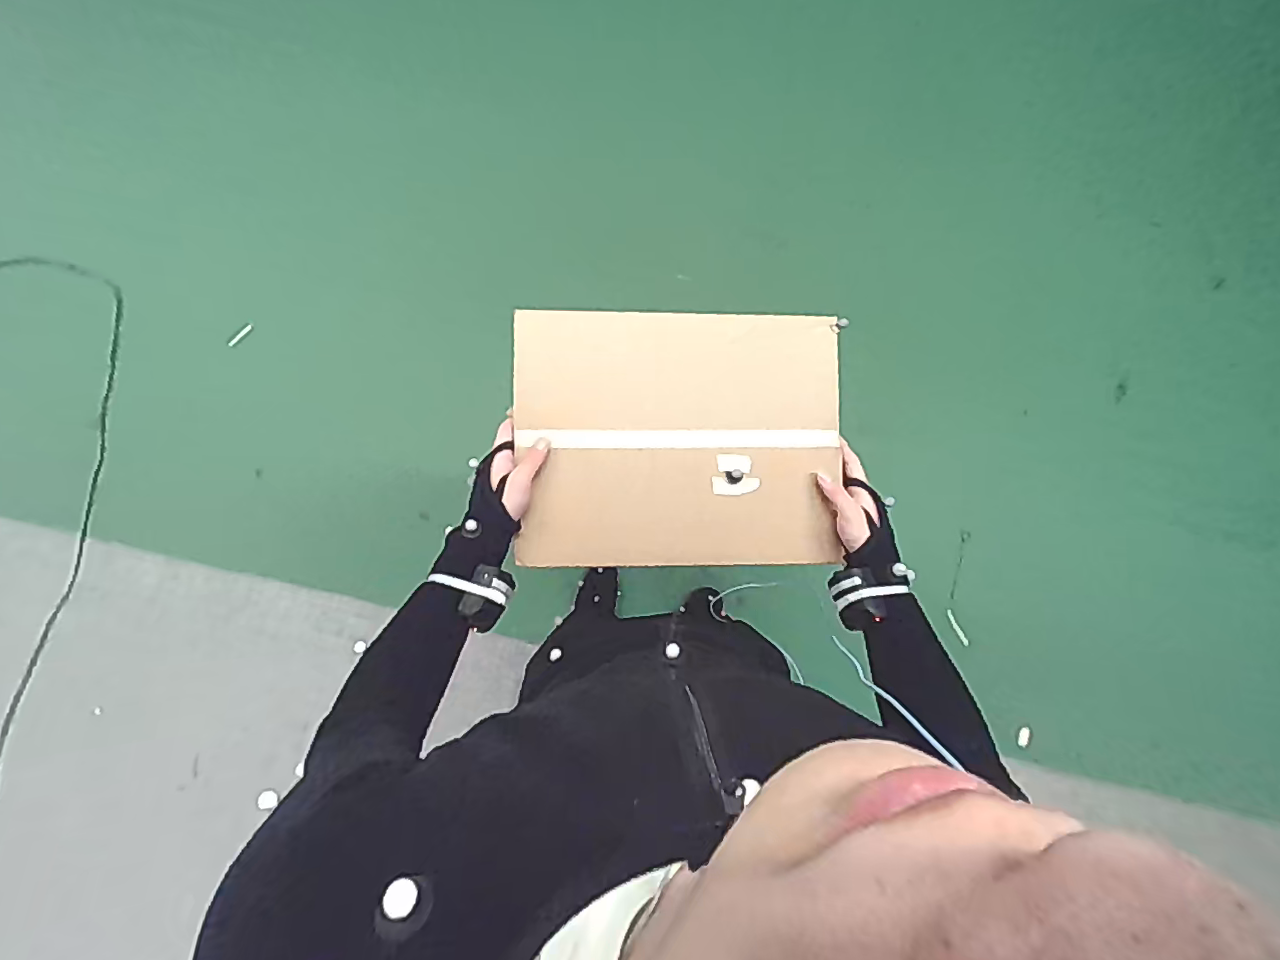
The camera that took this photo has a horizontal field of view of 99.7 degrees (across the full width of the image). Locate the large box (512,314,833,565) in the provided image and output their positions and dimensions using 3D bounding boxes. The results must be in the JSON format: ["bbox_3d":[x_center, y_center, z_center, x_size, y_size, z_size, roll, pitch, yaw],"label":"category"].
[{"bbox_3d":[0.032,-0.049,0.826,0.408,0.320,0.320,-1,88,-4],"label":"large box"}]
